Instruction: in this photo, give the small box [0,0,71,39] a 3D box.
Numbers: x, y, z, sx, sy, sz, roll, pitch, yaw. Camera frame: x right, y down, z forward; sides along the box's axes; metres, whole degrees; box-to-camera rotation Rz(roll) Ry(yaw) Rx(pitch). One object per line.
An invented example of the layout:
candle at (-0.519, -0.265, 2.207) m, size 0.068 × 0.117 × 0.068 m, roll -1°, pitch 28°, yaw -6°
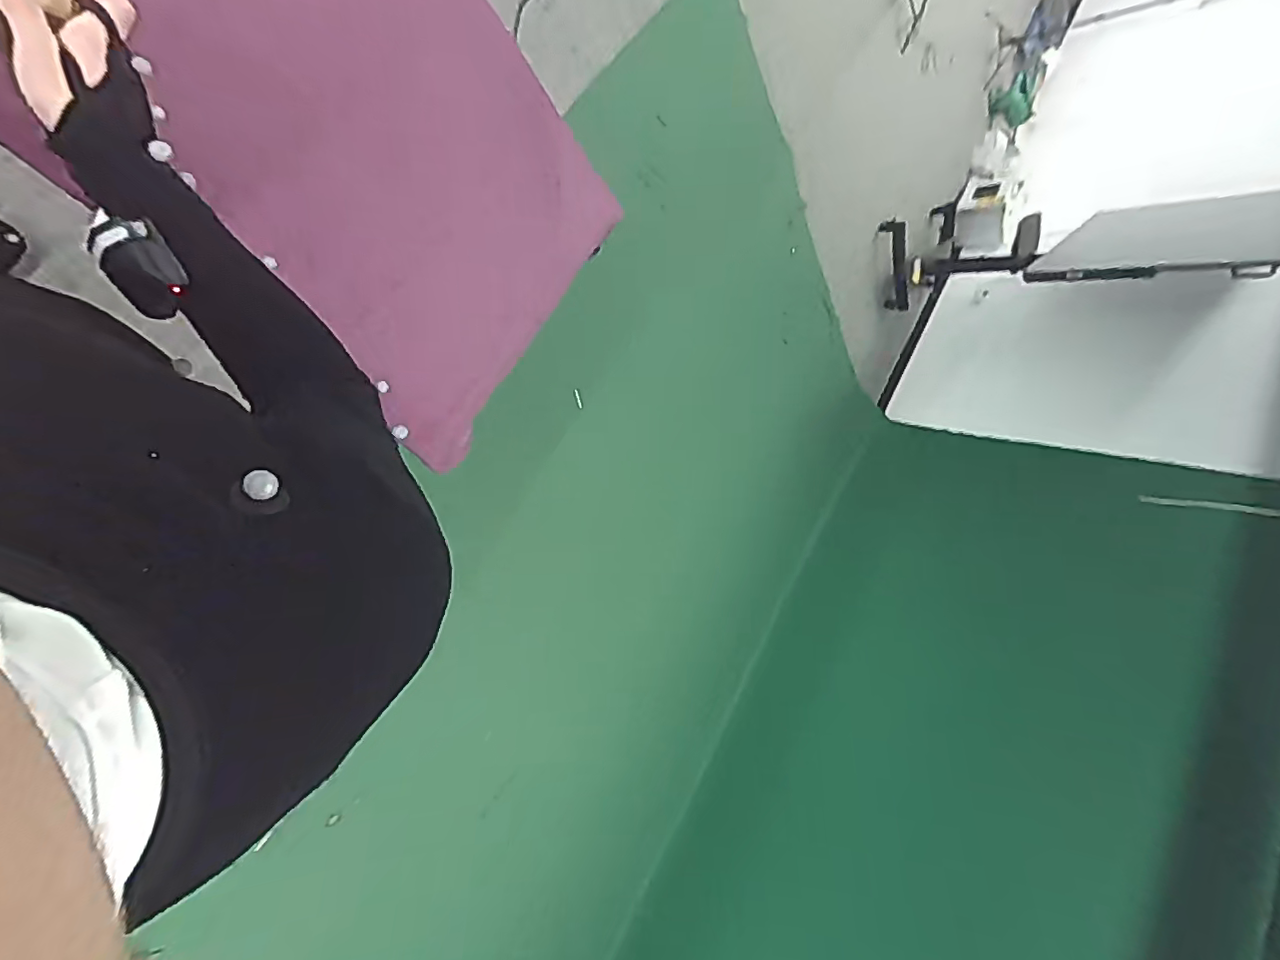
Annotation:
small box at (-0.536, -0.450, 0.374) m, size 0.179 × 0.176 × 0.168 m, roll -2°, pitch 106°, yaw -56°
